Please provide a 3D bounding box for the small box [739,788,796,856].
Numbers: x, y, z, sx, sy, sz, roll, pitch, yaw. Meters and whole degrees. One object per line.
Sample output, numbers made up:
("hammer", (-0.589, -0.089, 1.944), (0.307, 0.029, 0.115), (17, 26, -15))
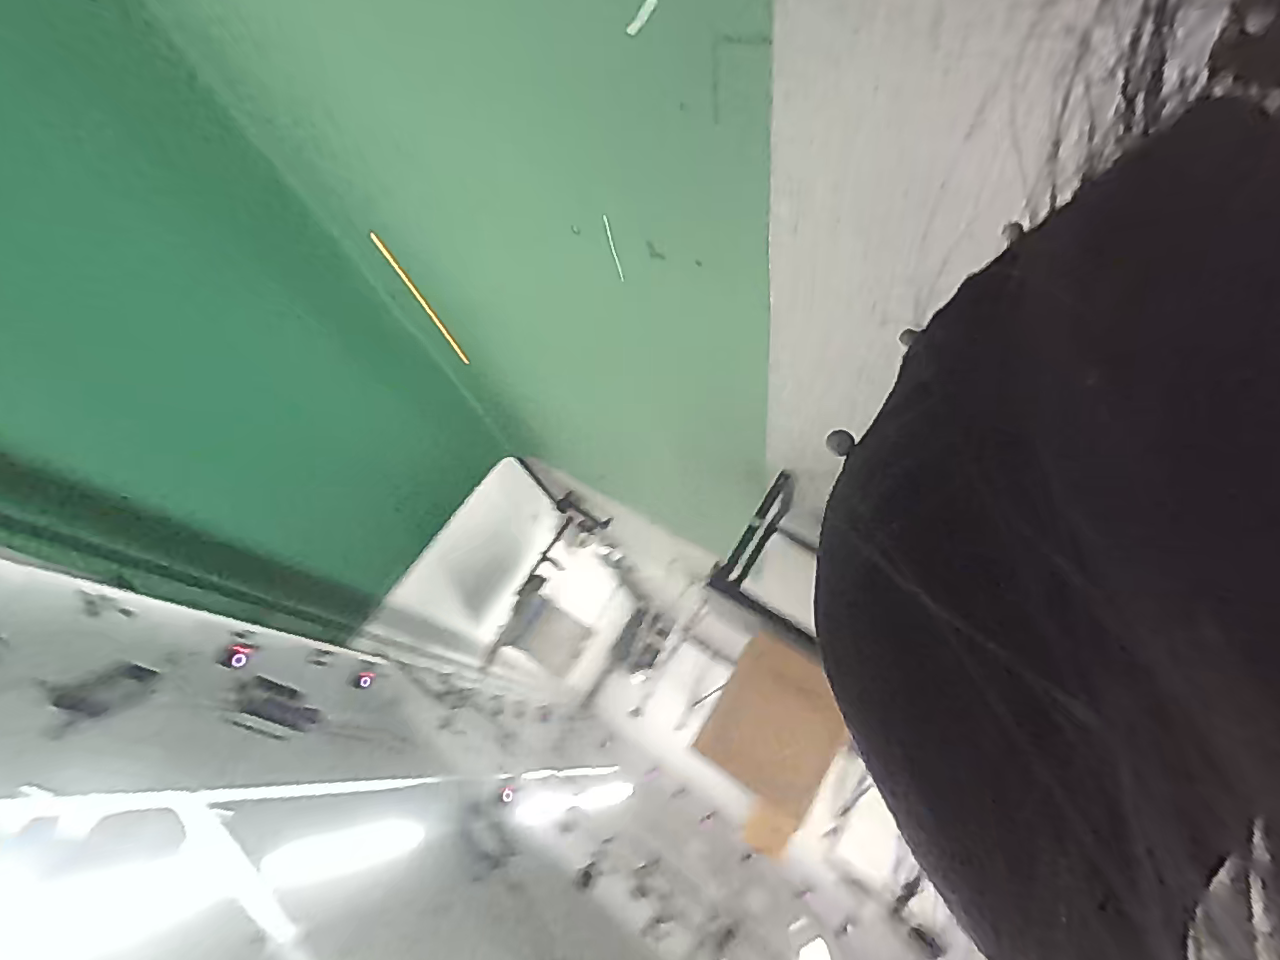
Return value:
("small box", (0.540, 1.440, 2.290), (0.168, 0.176, 0.179), (30, 161, 13))
